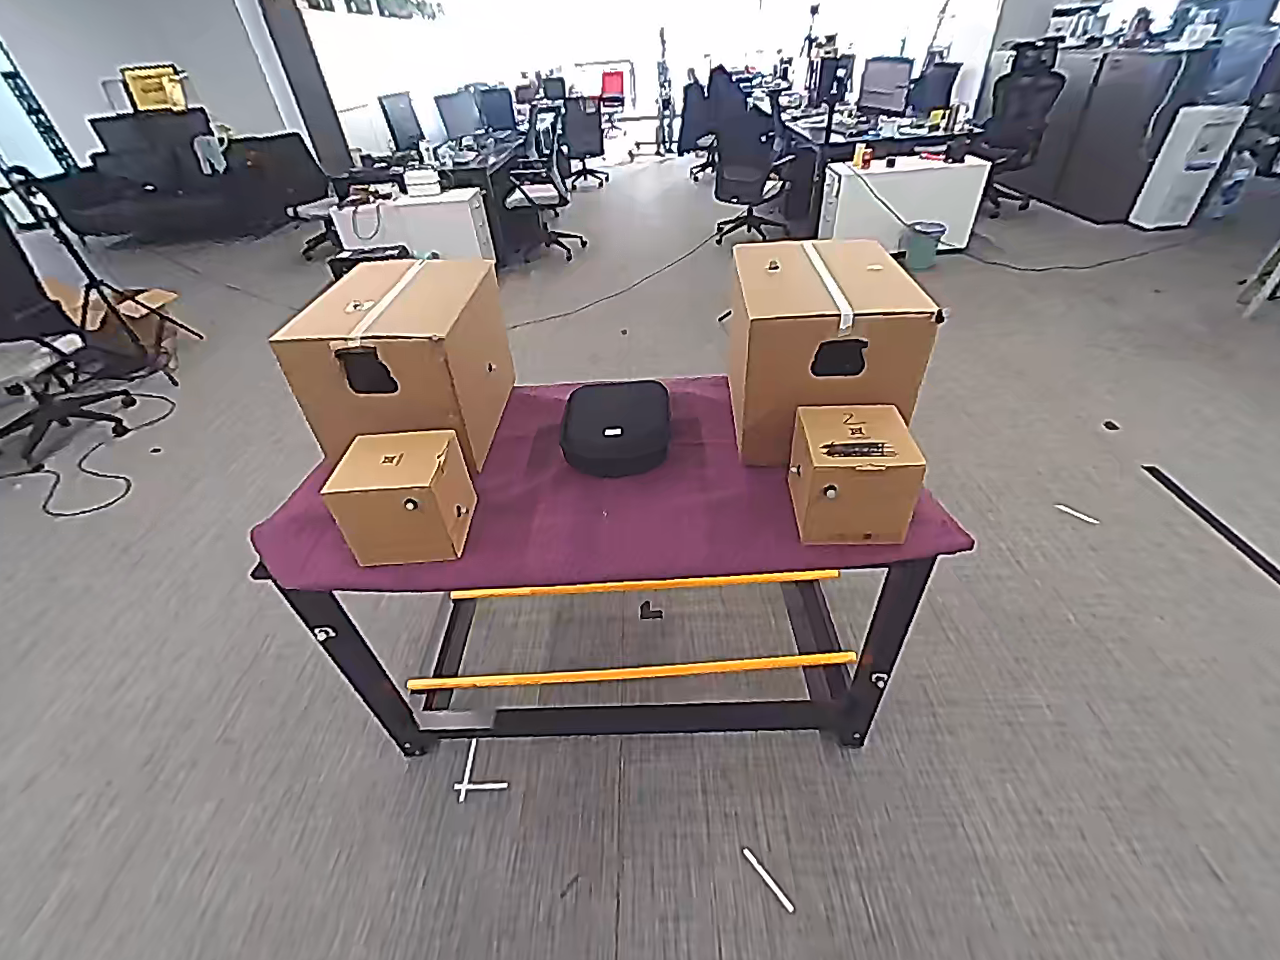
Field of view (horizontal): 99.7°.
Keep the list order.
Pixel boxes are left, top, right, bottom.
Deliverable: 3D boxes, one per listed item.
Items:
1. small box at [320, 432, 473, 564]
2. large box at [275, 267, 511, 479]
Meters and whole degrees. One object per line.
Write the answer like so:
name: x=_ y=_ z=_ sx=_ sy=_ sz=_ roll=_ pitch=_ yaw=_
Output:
small box: x=-0.412 y=0.033 z=0.952 sx=0.179 sy=0.176 sz=0.168 roll=-4 pitch=38 yaw=-1
large box: x=-0.487 y=-0.241 z=1.185 sx=0.320 sy=0.320 sz=0.408 roll=-2 pitch=41 yaw=1
